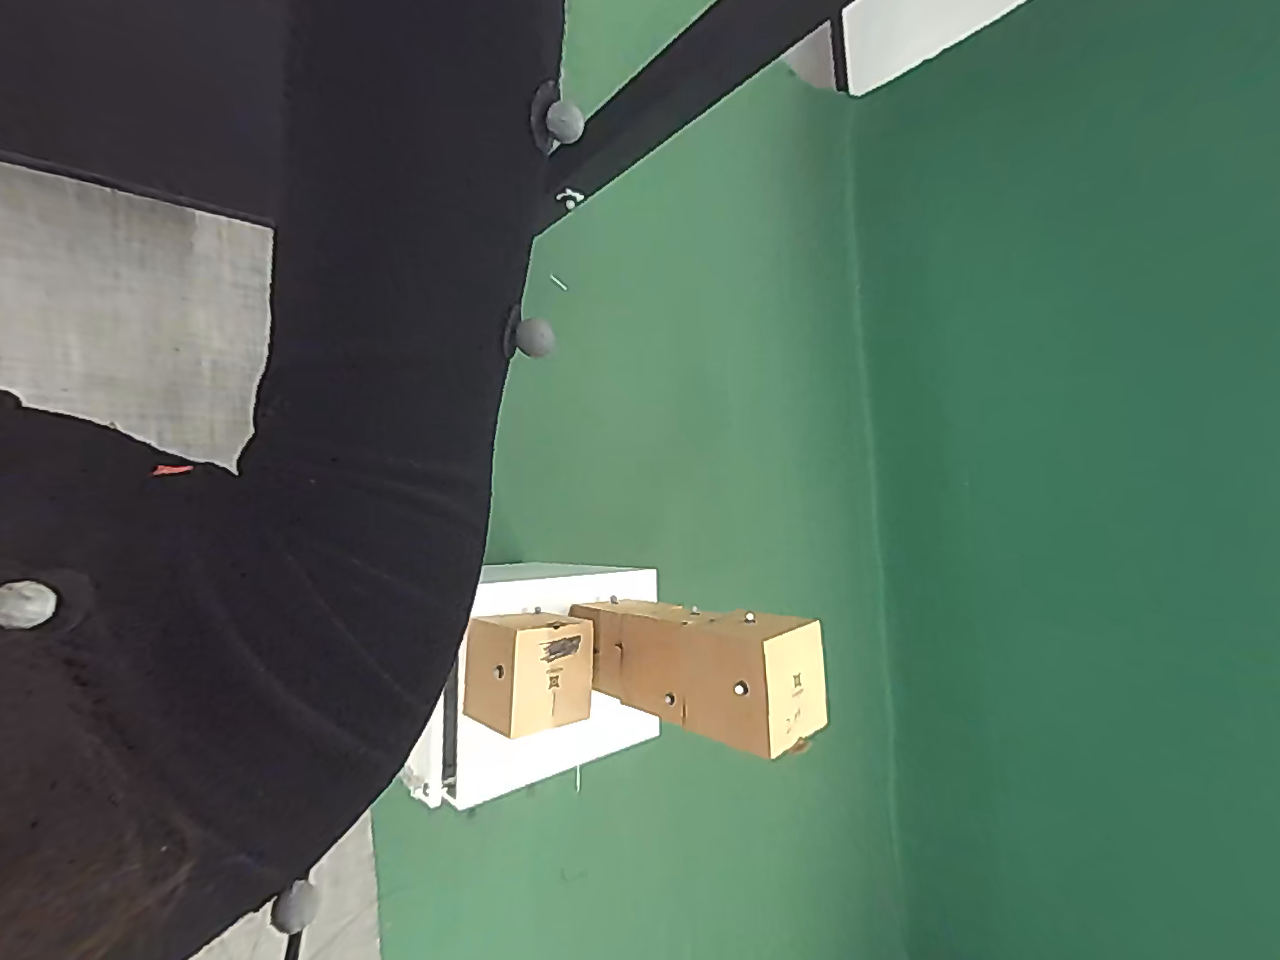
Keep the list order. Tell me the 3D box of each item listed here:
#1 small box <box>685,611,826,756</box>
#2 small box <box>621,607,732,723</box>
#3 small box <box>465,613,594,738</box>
[{"bbox_3d":[0.188,0.320,0.899,0.168,0.176,0.179,-2,88,-43],"label":"small box"},{"bbox_3d":[0.079,0.335,1.022,0.168,0.176,0.179,9,81,-43],"label":"small box"},{"bbox_3d":[-0.201,0.338,0.977,0.168,0.176,0.179,8,82,-44],"label":"small box"}]
